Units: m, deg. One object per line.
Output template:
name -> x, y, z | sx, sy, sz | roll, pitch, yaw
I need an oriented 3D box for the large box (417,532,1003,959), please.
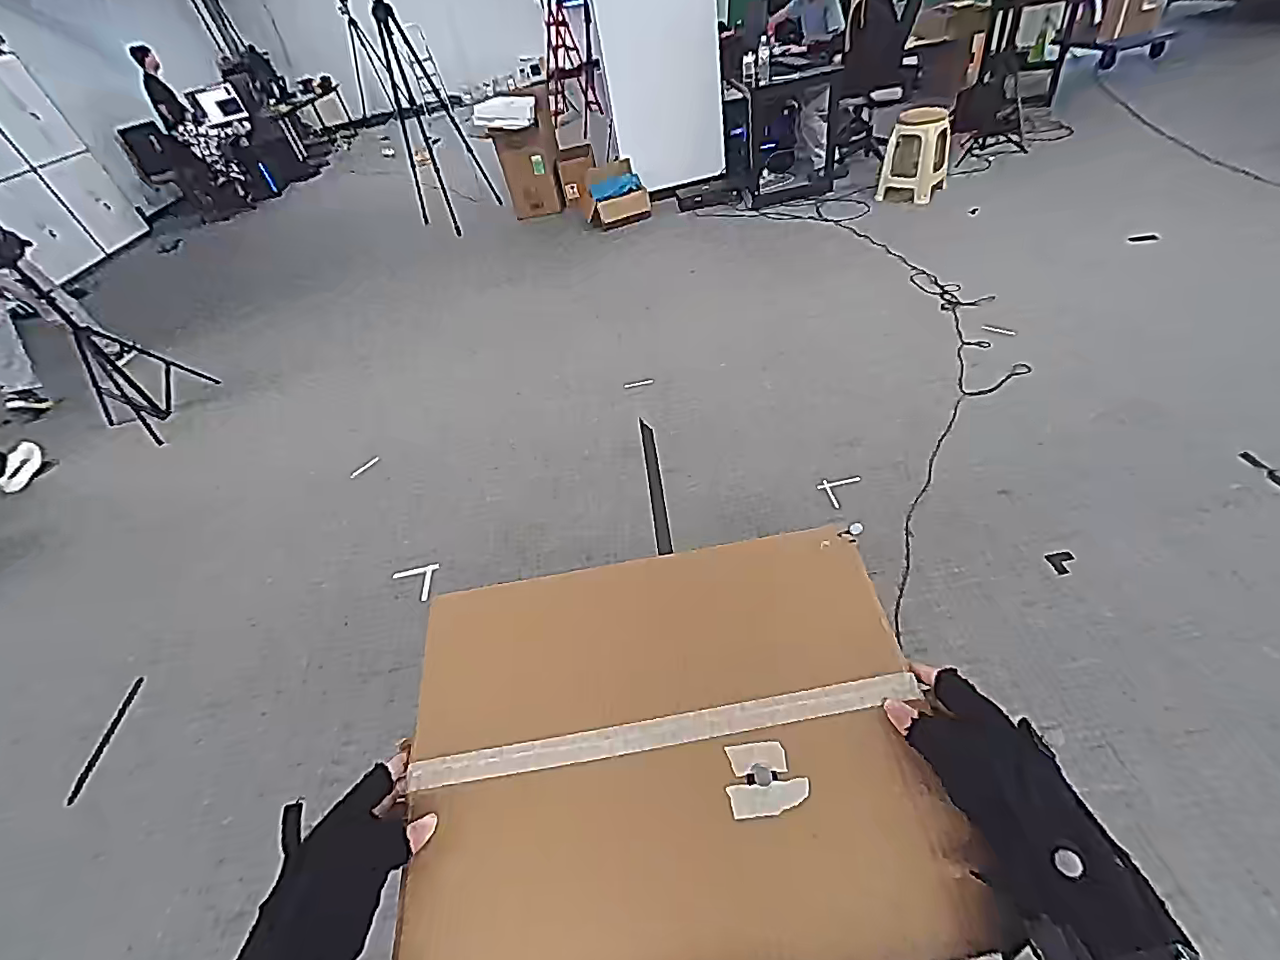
large box -> 0.040, 0.296, 0.559 | 0.408, 0.320, 0.320 | -10, 52, 0
